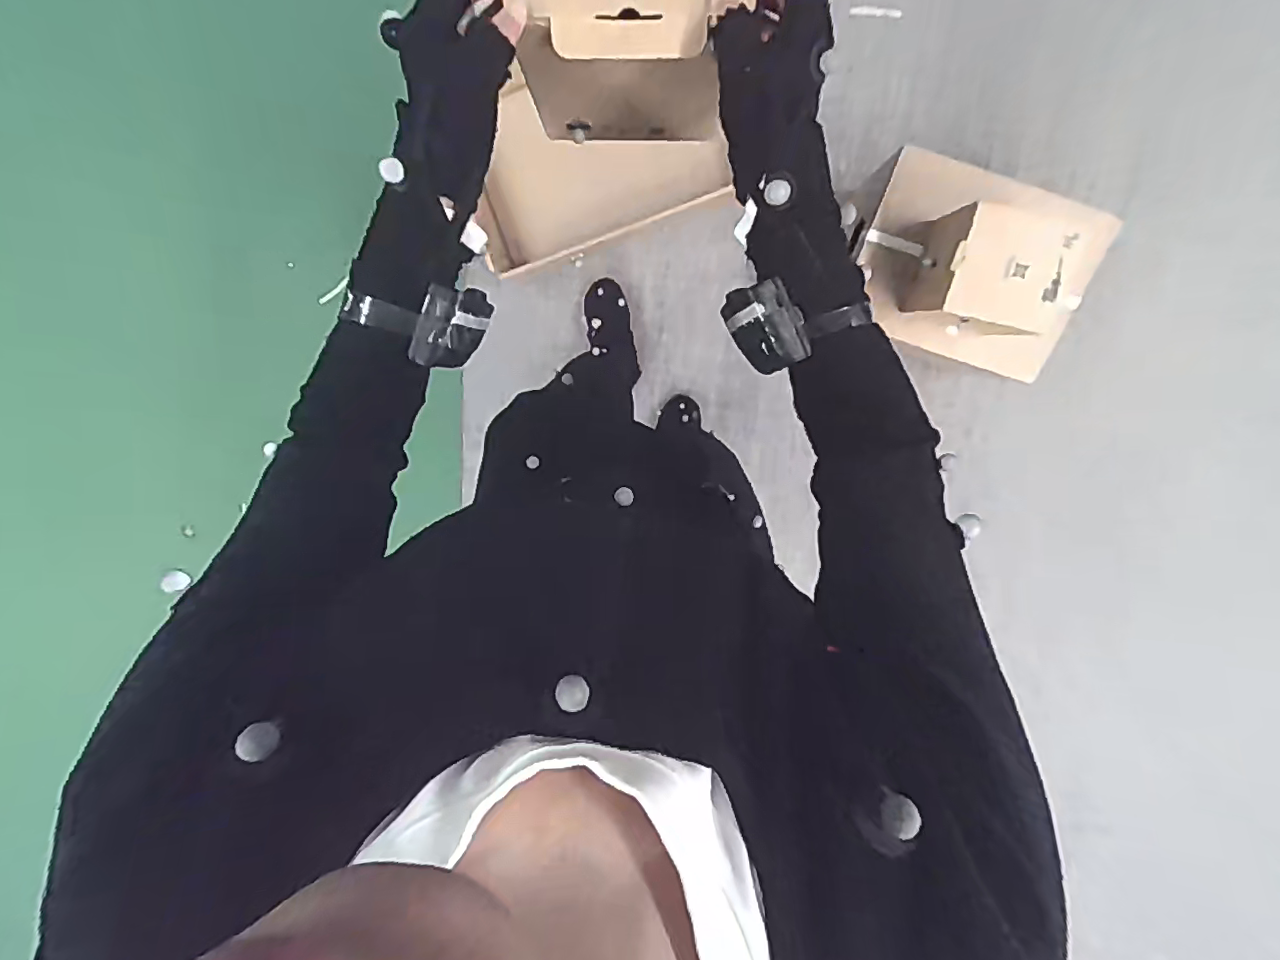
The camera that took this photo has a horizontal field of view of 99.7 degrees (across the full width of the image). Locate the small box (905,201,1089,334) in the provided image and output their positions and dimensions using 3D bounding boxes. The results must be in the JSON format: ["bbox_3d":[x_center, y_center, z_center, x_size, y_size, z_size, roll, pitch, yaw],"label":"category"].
[{"bbox_3d":[0.578,-0.344,0.907,0.179,0.176,0.168,14,106,2],"label":"small box"}]

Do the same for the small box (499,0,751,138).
[{"bbox_3d":[-0.005,-0.389,0.413,0.168,0.176,0.179,1,98,1],"label":"small box"}]
